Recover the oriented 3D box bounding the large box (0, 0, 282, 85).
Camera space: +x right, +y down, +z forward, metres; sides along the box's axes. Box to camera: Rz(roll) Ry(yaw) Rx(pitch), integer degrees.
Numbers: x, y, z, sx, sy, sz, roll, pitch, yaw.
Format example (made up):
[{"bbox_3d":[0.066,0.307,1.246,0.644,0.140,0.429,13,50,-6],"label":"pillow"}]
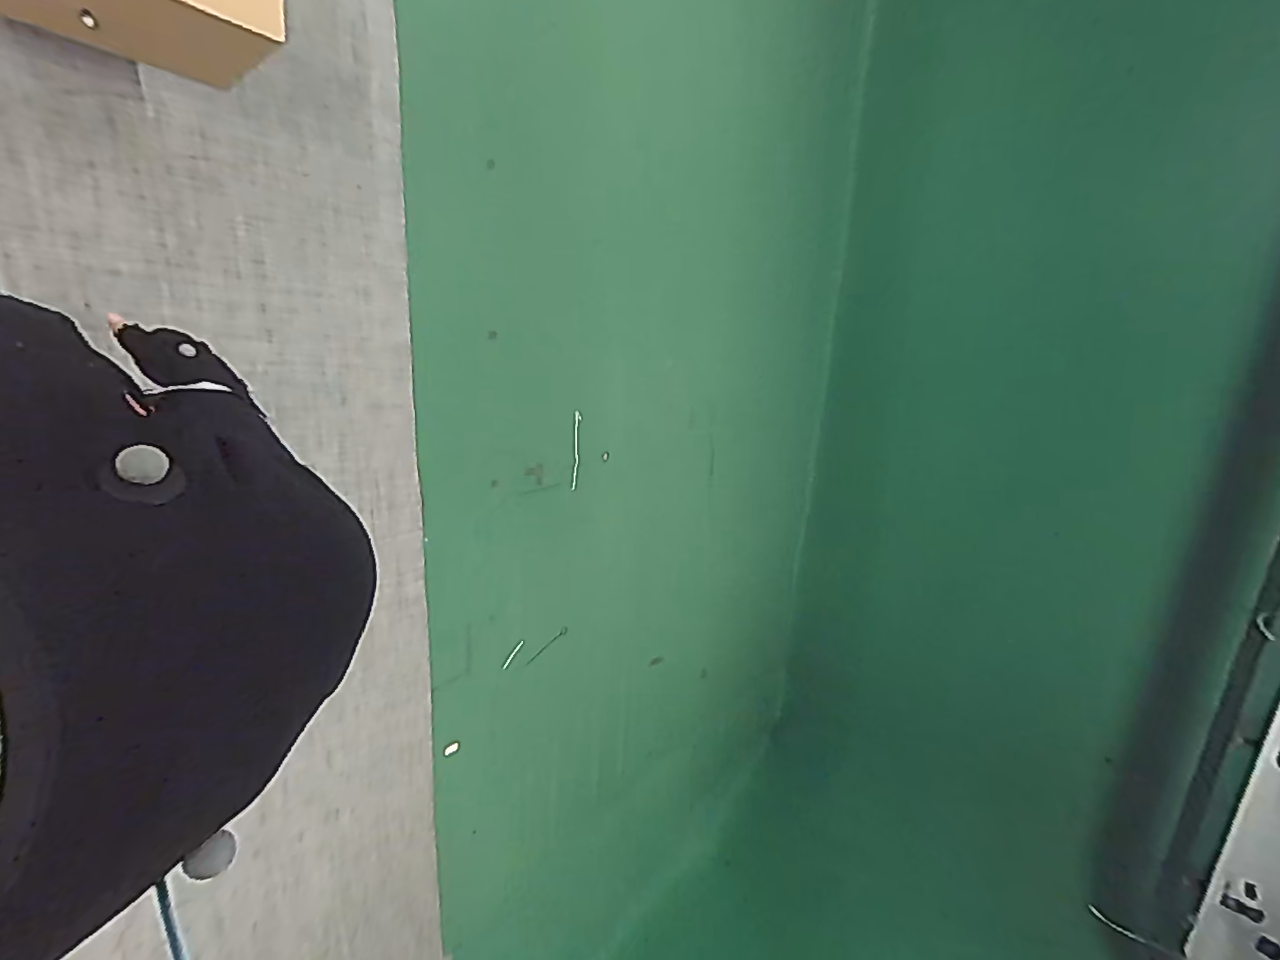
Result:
[{"bbox_3d":[-0.784,-0.824,0.746,0.408,0.320,0.320,-12,110,-49],"label":"large box"}]
